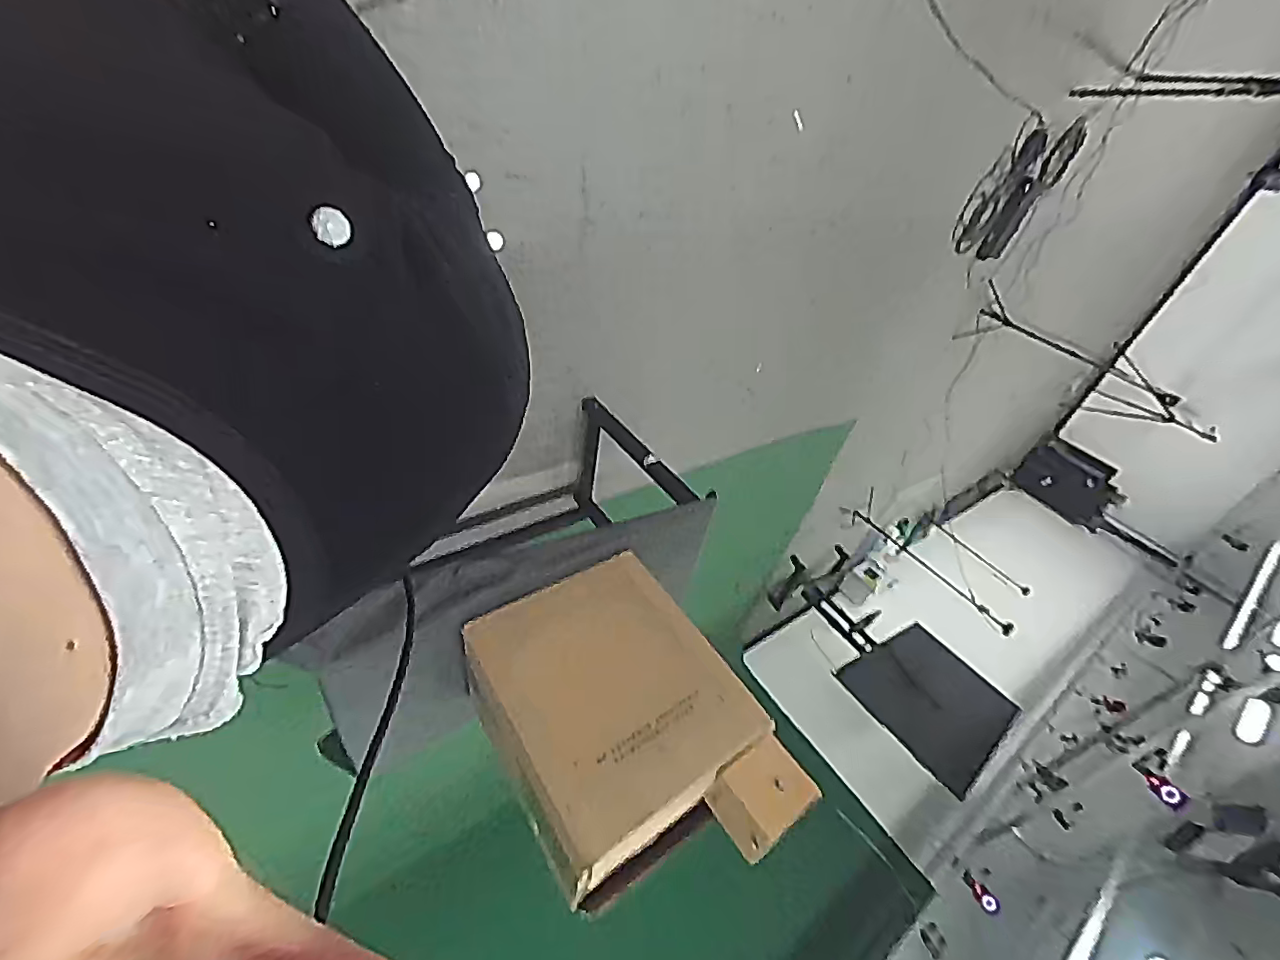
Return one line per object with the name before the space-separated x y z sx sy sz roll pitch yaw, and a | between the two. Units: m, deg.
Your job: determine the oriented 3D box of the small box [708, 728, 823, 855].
small box | 0.291 0.727 1.278 0.179 0.176 0.168 -23 140 -32
